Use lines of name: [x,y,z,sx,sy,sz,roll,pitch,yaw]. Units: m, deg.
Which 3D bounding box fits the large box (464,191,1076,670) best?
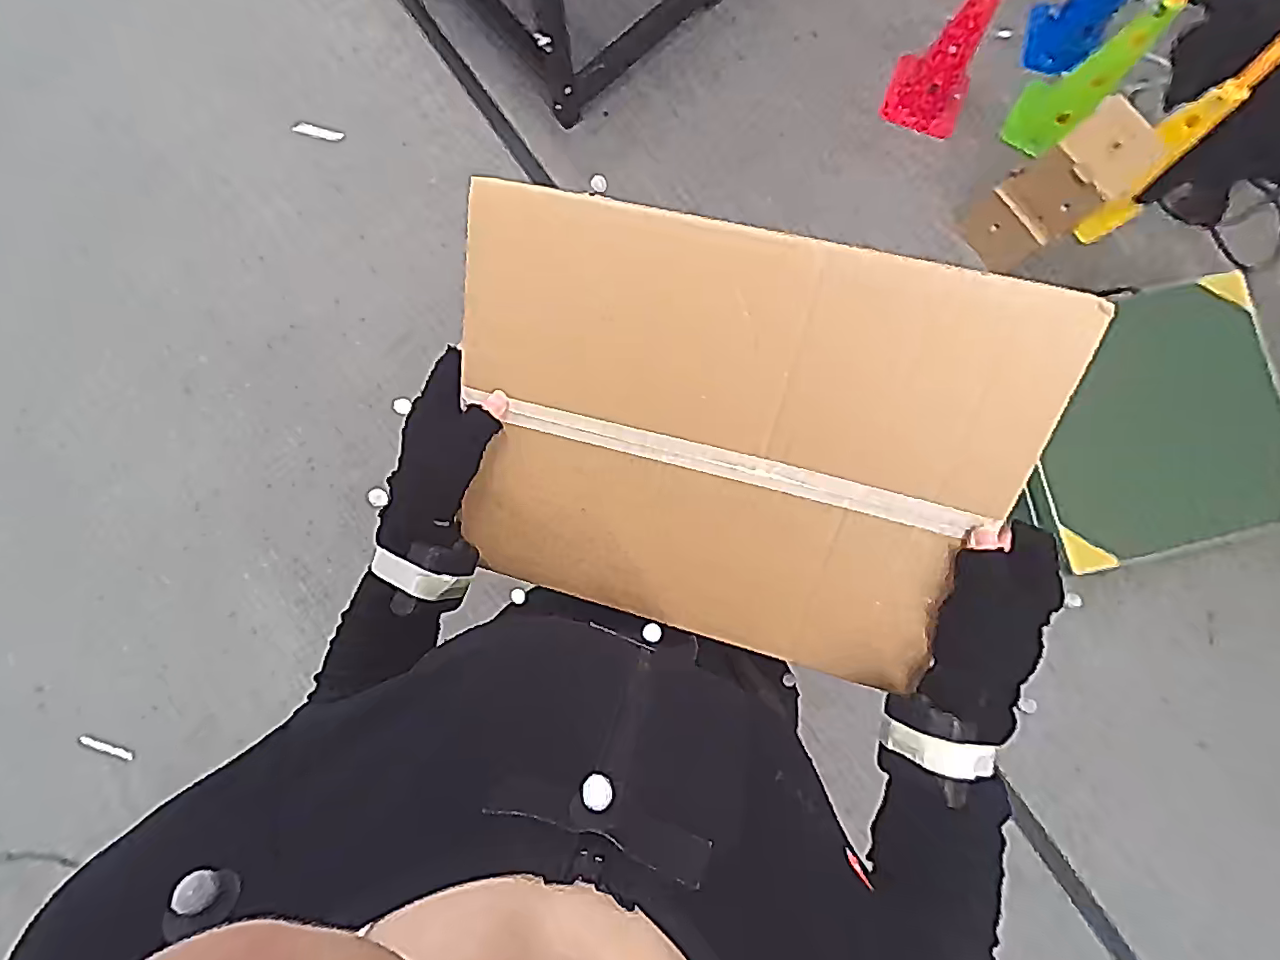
large box: [0.081,-0.078,0.547,0.408,0.320,0.320,14,116,8]
